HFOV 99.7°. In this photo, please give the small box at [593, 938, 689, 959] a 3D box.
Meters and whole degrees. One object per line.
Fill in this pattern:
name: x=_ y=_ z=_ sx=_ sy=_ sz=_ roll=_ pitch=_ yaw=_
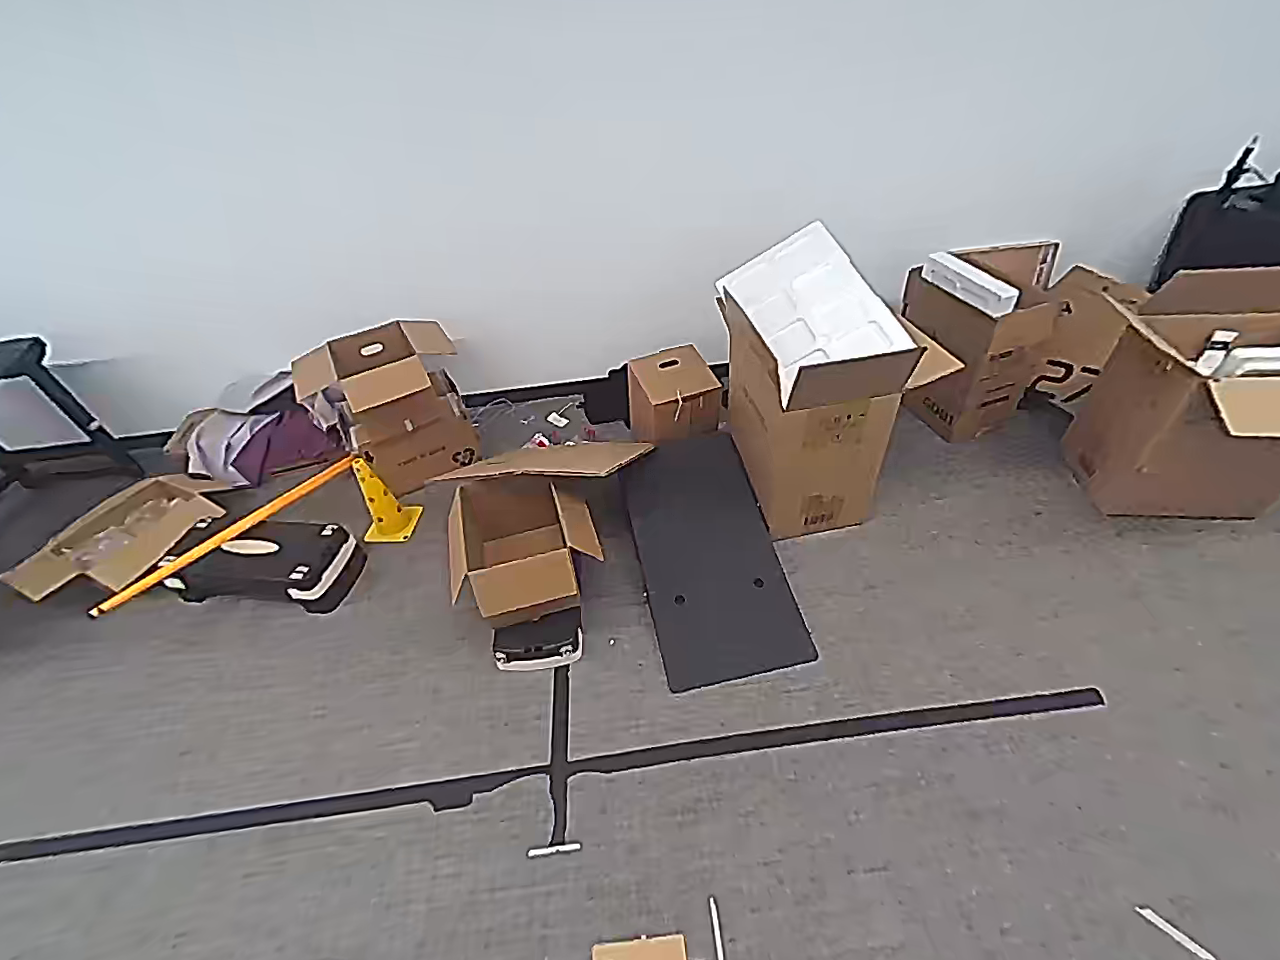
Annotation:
small box: x=0.011 y=0.972 z=0.996 sx=0.179 sy=0.176 sz=0.168 roll=-6 pitch=42 yaw=-2
